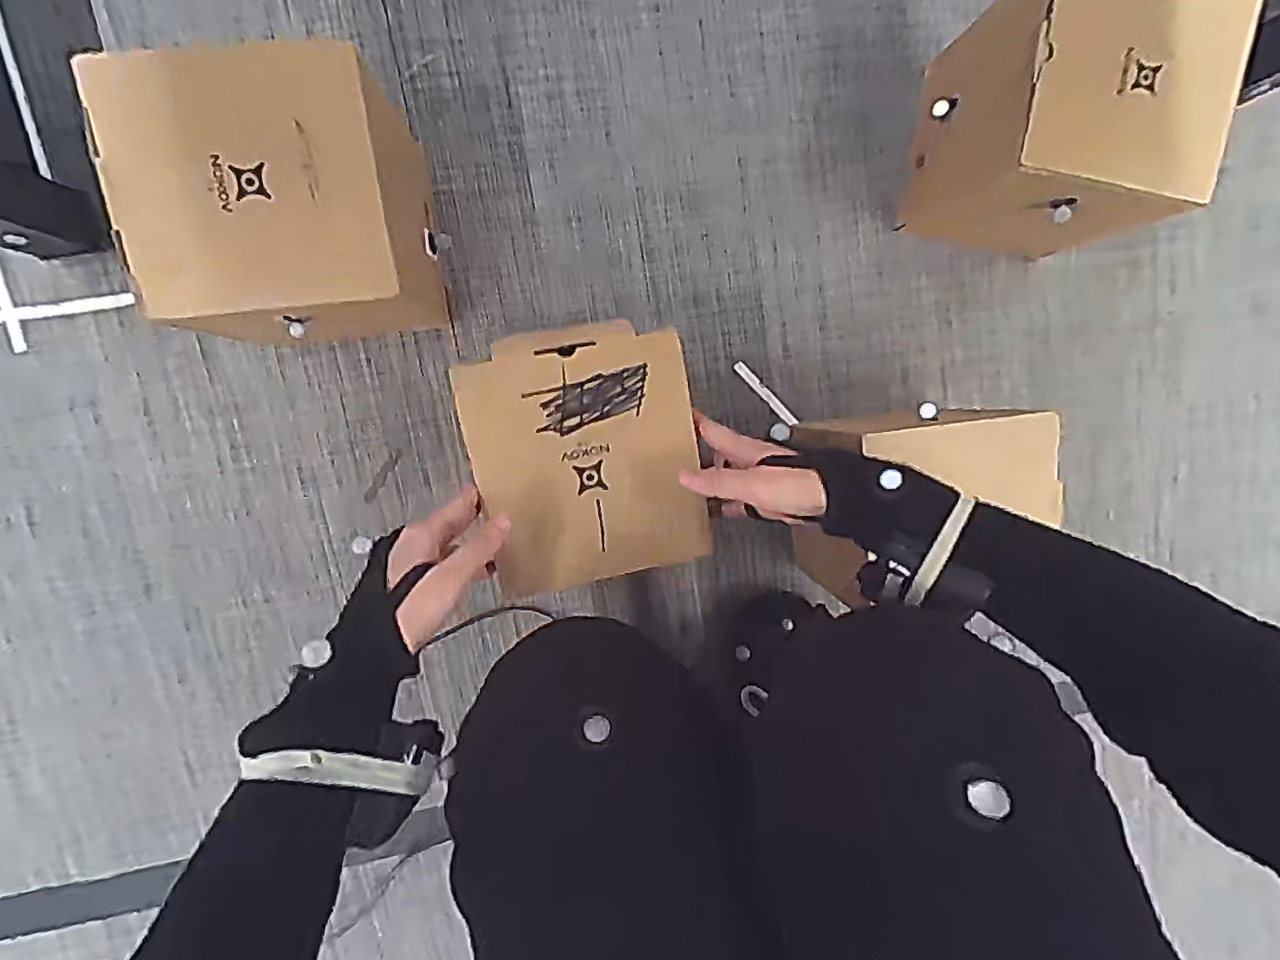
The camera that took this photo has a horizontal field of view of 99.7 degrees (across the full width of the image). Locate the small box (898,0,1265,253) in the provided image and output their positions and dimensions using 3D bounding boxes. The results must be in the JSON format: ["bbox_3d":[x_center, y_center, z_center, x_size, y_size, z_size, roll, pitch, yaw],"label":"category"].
[{"bbox_3d":[0.376,-0.321,0.494,0.179,0.176,0.168,7,98,-6],"label":"small box"}]

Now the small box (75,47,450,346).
[{"bbox_3d":[-0.273,-0.206,0.439,0.179,0.176,0.168,-8,100,-6],"label":"small box"}]

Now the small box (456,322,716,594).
[{"bbox_3d":[-0.047,-0.026,0.468,0.168,0.176,0.179,-11,100,-7],"label":"small box"}]
